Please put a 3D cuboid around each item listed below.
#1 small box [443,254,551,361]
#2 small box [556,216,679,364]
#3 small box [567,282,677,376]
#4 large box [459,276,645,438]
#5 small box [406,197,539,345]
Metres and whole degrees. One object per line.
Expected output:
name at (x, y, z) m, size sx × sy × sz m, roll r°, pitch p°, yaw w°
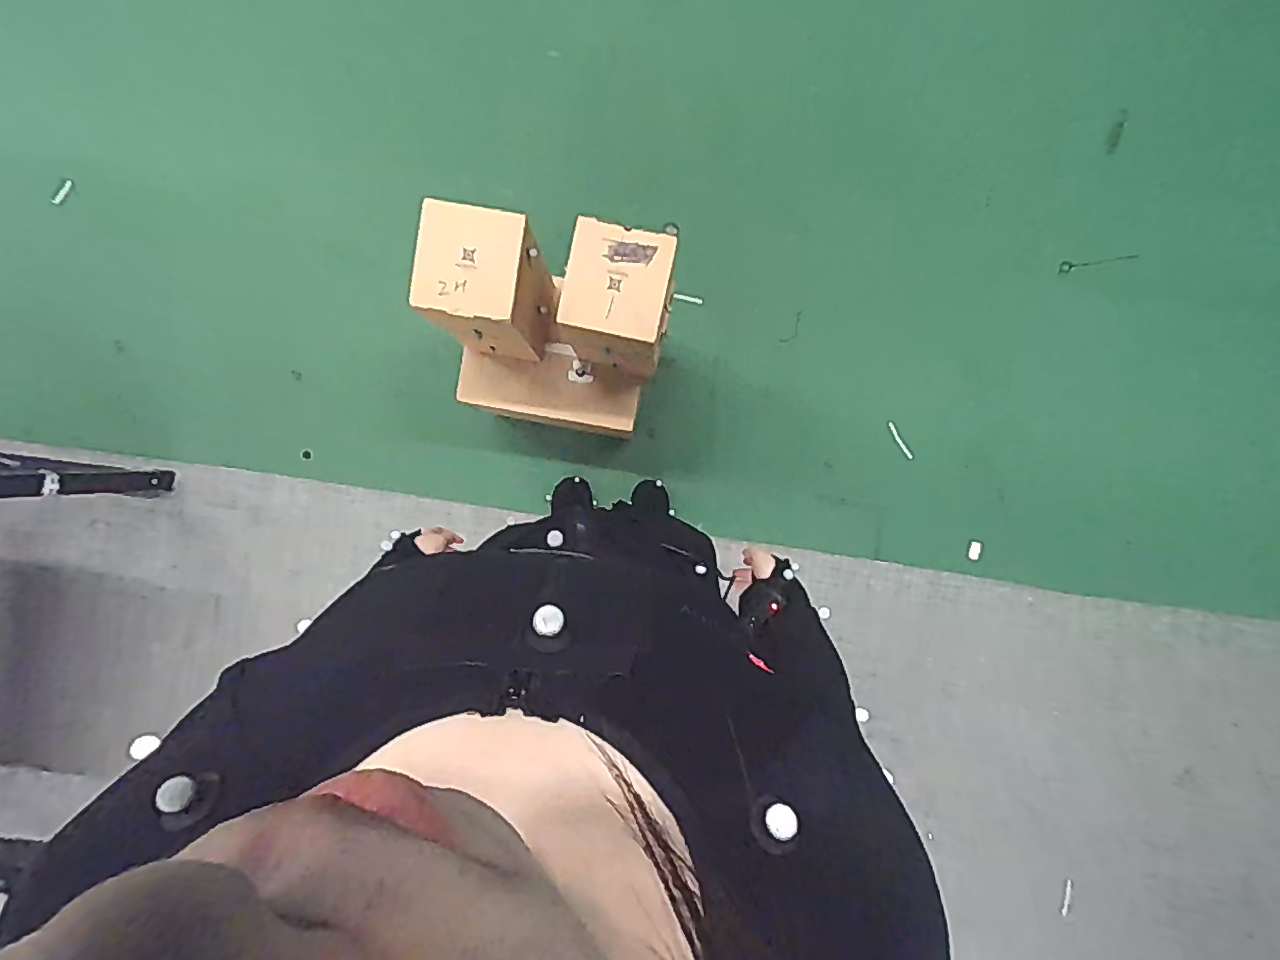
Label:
small box at (-0.281, -0.355, 1.096) m, size 0.168 × 0.176 × 0.179 m, roll 10°, pitch 91°, yaw -1°
small box at (-0.036, -0.316, 0.931) m, size 0.168 × 0.176 × 0.179 m, roll 13°, pitch 92°, yaw 1°
small box at (-0.034, -0.318, 1.096) m, size 0.179 × 0.176 × 0.168 m, roll 15°, pitch 90°, yaw 0°
large box at (-0.187, -0.293, 1.340) m, size 0.408 × 0.320 × 0.320 m, roll 10°, pitch 92°, yaw -2°
small box at (-0.276, -0.348, 0.931) m, size 0.168 × 0.176 × 0.179 m, roll 9°, pitch 91°, yaw -1°
